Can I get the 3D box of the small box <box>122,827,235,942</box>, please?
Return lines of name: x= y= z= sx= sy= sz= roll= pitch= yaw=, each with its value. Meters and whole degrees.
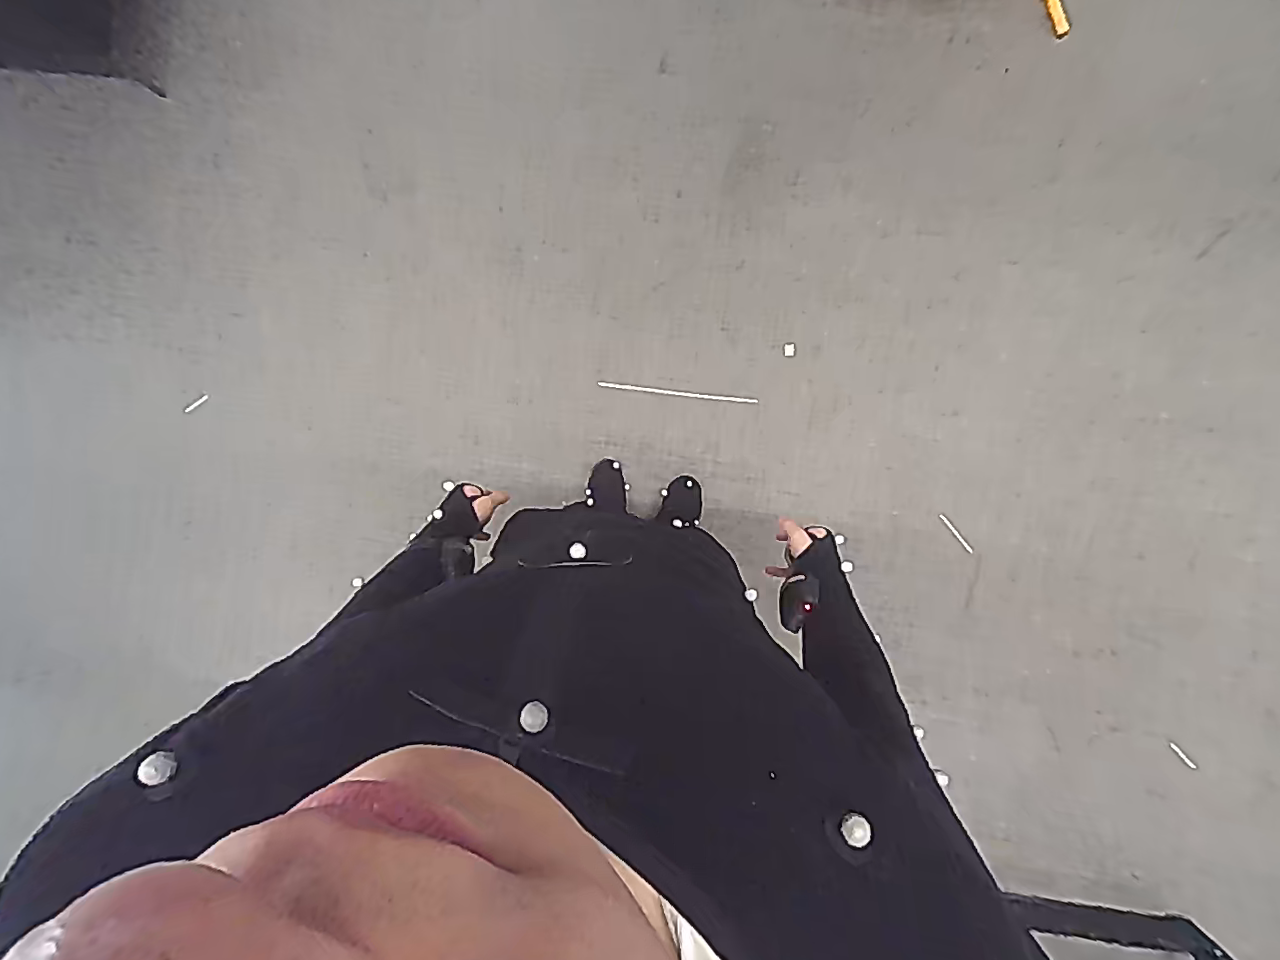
small box: x=-1.260 y=1.103 z=1.486 sx=0.168 sy=0.176 sz=0.179 roll=7 pitch=92 yaw=3
